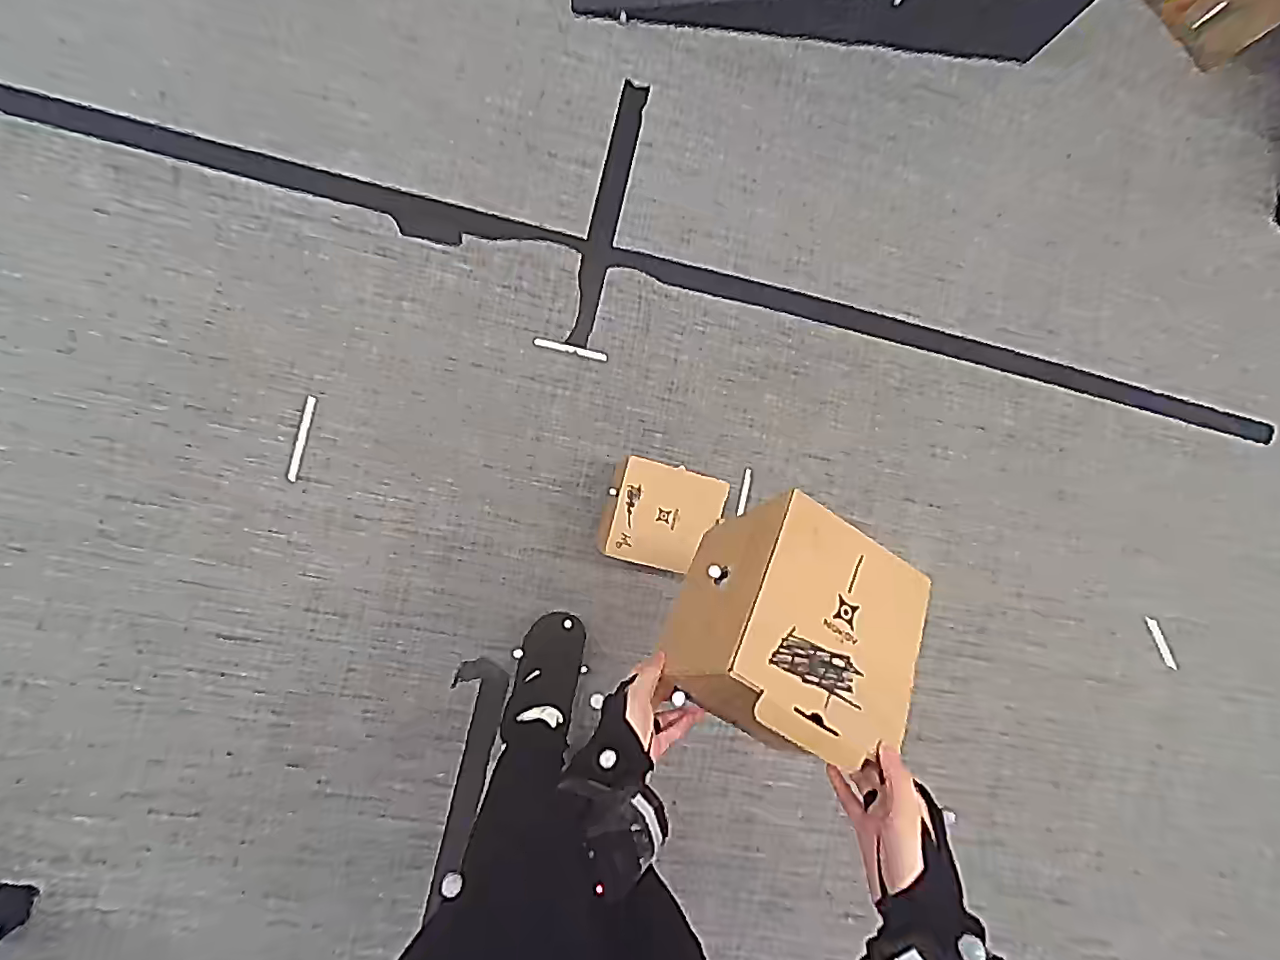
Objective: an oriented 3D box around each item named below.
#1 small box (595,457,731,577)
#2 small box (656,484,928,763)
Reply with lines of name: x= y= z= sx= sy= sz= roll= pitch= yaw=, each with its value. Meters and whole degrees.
small box: x=0.032 y=0.062 z=0.936 sx=0.179 sy=0.176 sz=0.168 roll=16 pitch=87 yaw=-9
small box: x=0.135 y=0.139 z=0.520 sx=0.168 sy=0.176 sz=0.179 roll=33 pitch=61 yaw=-9
